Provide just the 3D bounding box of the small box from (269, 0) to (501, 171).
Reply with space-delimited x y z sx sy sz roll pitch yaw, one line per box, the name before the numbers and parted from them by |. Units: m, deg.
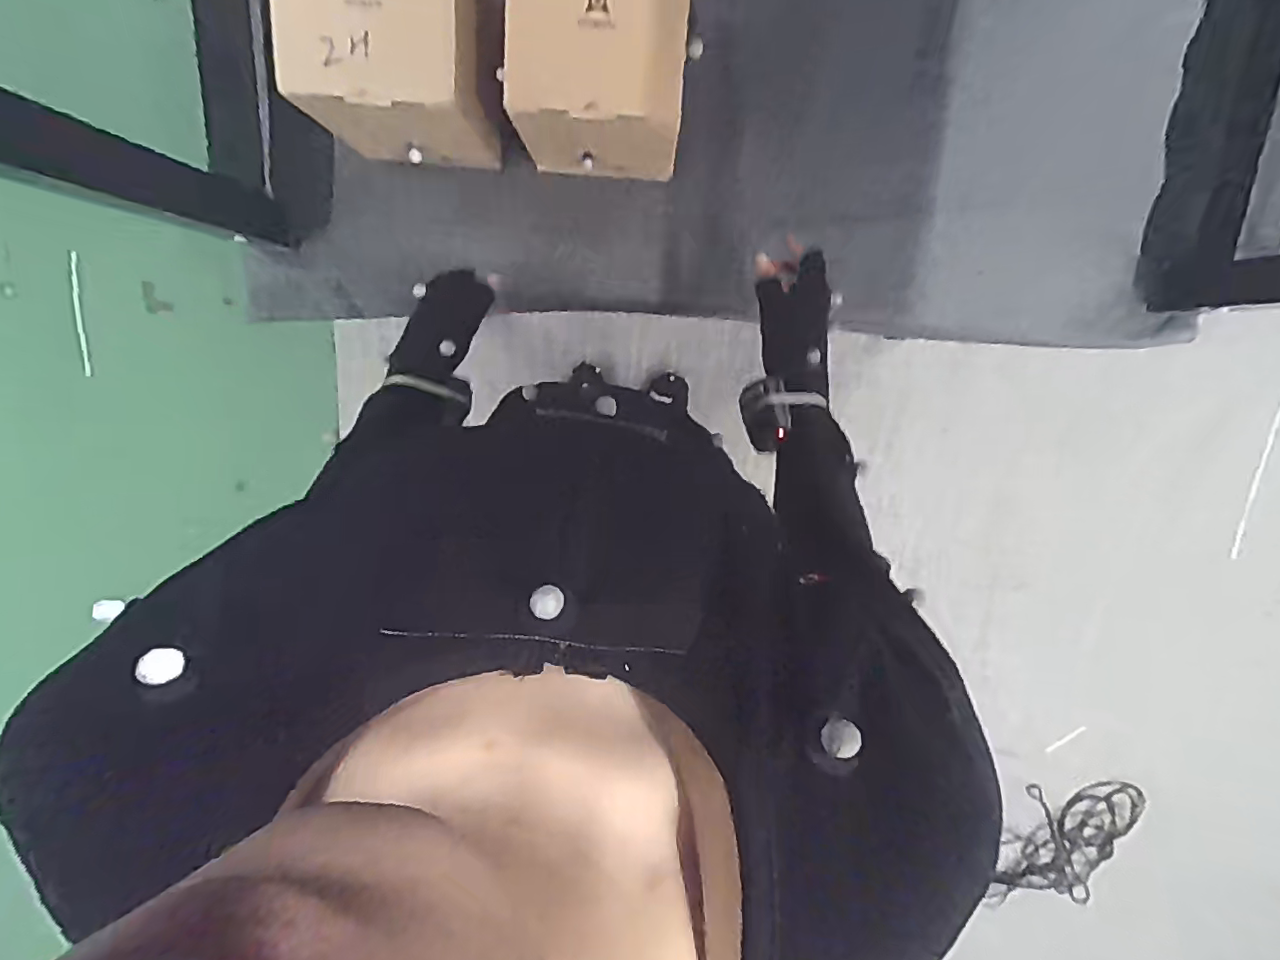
small box | -0.246 -0.448 0.556 0.168 0.176 0.179 4 102 -1
